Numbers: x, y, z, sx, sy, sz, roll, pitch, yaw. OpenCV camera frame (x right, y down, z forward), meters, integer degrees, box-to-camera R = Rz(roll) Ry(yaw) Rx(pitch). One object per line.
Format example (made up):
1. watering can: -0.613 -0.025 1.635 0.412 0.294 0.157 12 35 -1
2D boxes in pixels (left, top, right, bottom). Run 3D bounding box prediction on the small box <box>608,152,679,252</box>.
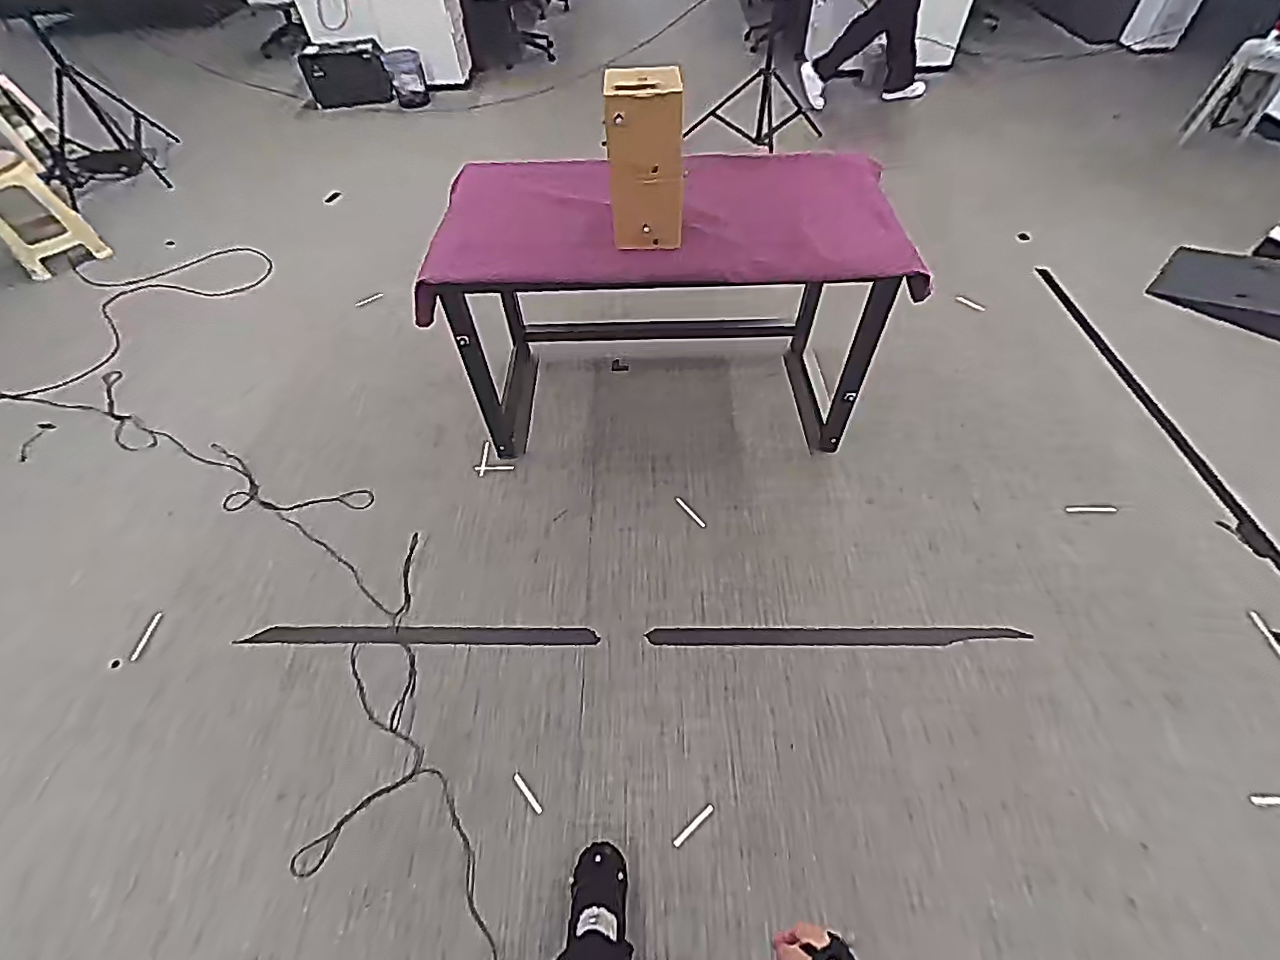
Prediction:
1. small box: 0.014 -0.694 1.350 0.168 0.176 0.179 0 52 3
